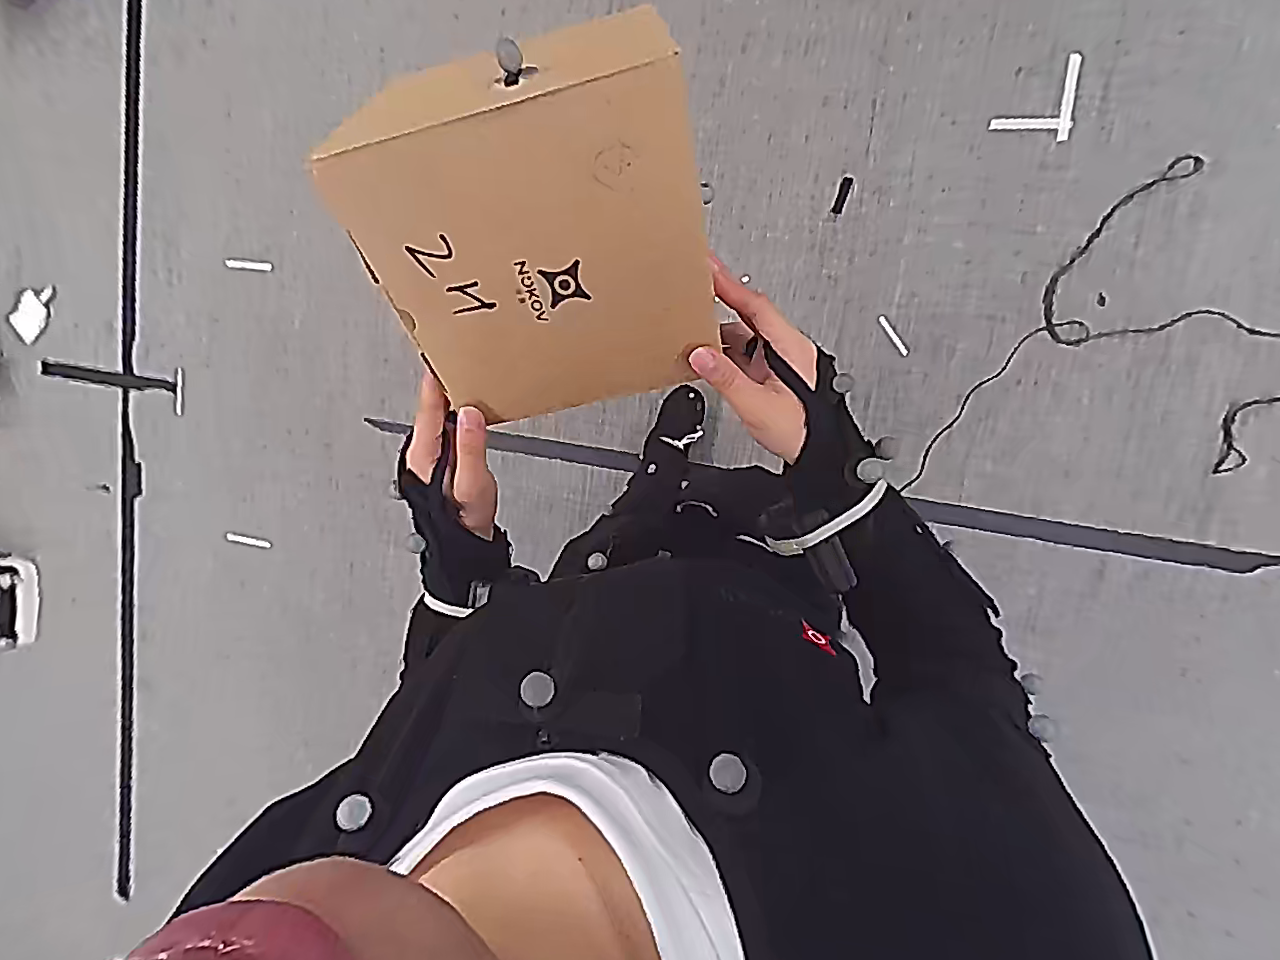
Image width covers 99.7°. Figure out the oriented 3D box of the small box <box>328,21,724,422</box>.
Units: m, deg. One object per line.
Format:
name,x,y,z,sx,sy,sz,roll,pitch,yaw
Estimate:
small box,-0.052,-0.166,0.351,0.179,0.176,0.168,-11,136,6
